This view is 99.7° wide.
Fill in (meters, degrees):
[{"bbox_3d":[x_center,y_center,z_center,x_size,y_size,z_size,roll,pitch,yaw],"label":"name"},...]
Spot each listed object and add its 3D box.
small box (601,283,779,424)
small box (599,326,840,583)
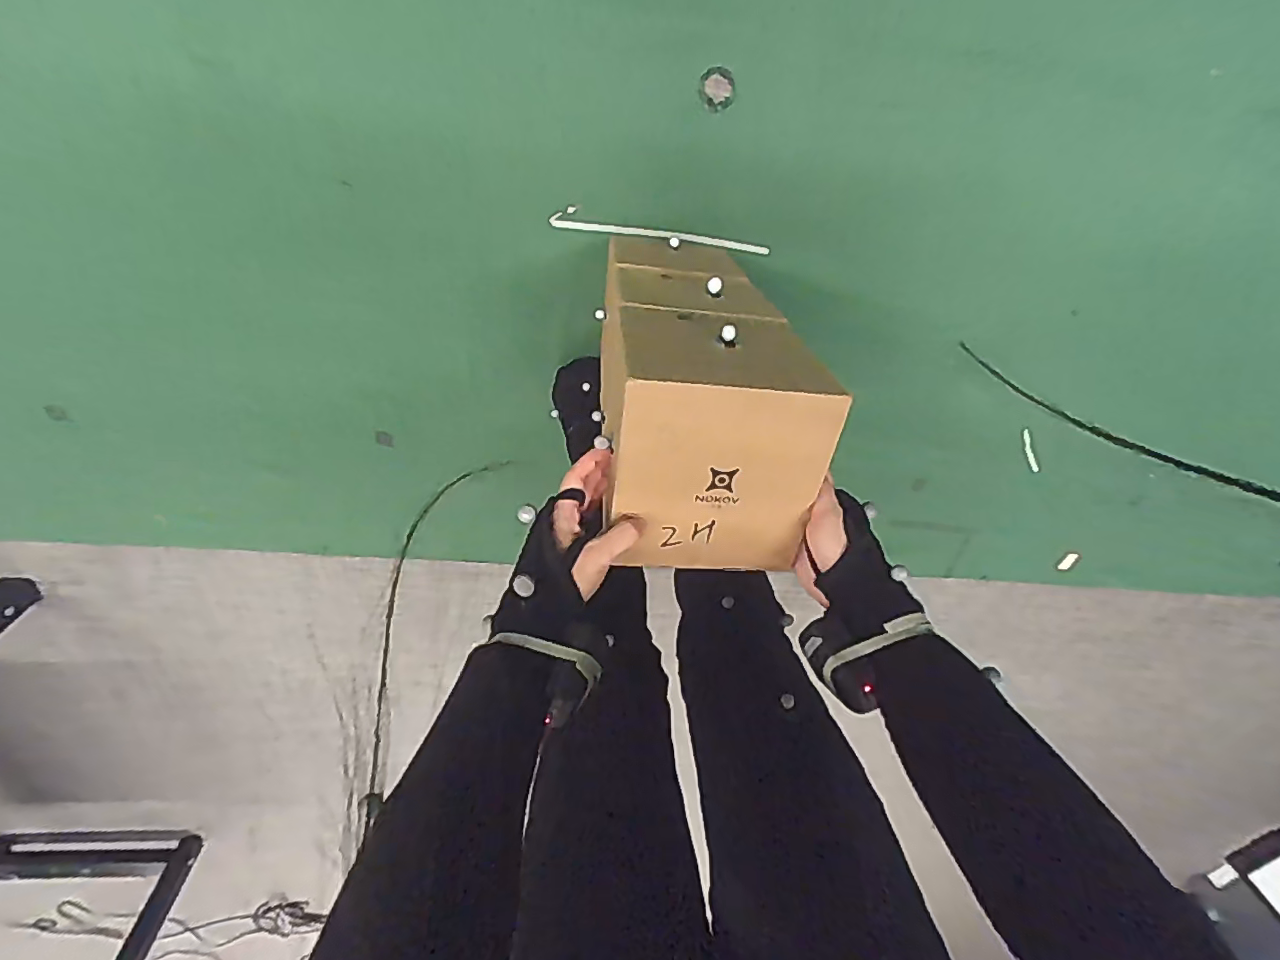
[{"bbox_3d":[0.042,-0.120,0.629,0.168,0.176,0.179,2,124,-6],"label":"small box"},{"bbox_3d":[0.050,-0.028,0.493,0.168,0.176,0.179,3,124,-7],"label":"small box"}]
